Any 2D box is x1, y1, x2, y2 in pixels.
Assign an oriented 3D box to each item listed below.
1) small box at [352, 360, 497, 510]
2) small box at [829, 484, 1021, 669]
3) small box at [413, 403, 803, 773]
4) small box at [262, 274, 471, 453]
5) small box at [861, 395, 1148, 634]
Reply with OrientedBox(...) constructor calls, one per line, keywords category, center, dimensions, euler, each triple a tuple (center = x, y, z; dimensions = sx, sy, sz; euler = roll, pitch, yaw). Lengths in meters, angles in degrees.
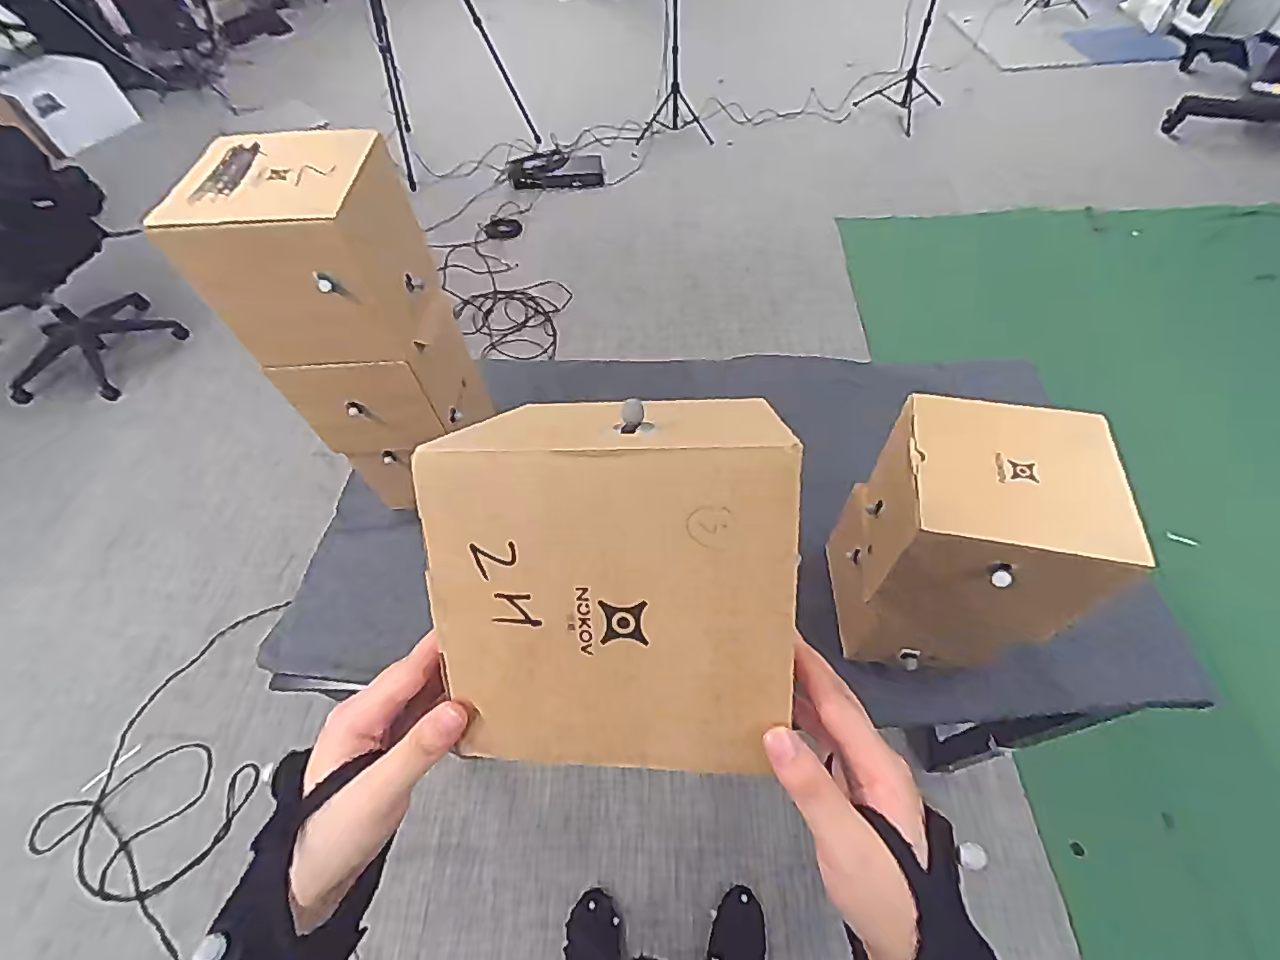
OrientedBox(category="small box", center=(-0.336, -0.070, 0.870), dimensions=(0.168, 0.176, 0.179), euler=(-3, 55, 1))
OrientedBox(category="small box", center=(0.348, 0.123, 0.684), dimensions=(0.168, 0.176, 0.179), euler=(0, 54, 5))
OrientedBox(category="small box", center=(-0.005, 0.045, 0.332), dimensions=(0.179, 0.168, 0.176), euler=(0, 15, 8))
OrientedBox(category="small box", center=(-0.344, -0.150, 0.725), dimensions=(0.179, 0.176, 0.168), euler=(-3, 56, 3))
OrientedBox(category="small box", center=(0.338, 0.040, 0.545), dimensions=(0.179, 0.176, 0.168), euler=(9, 55, 12))
